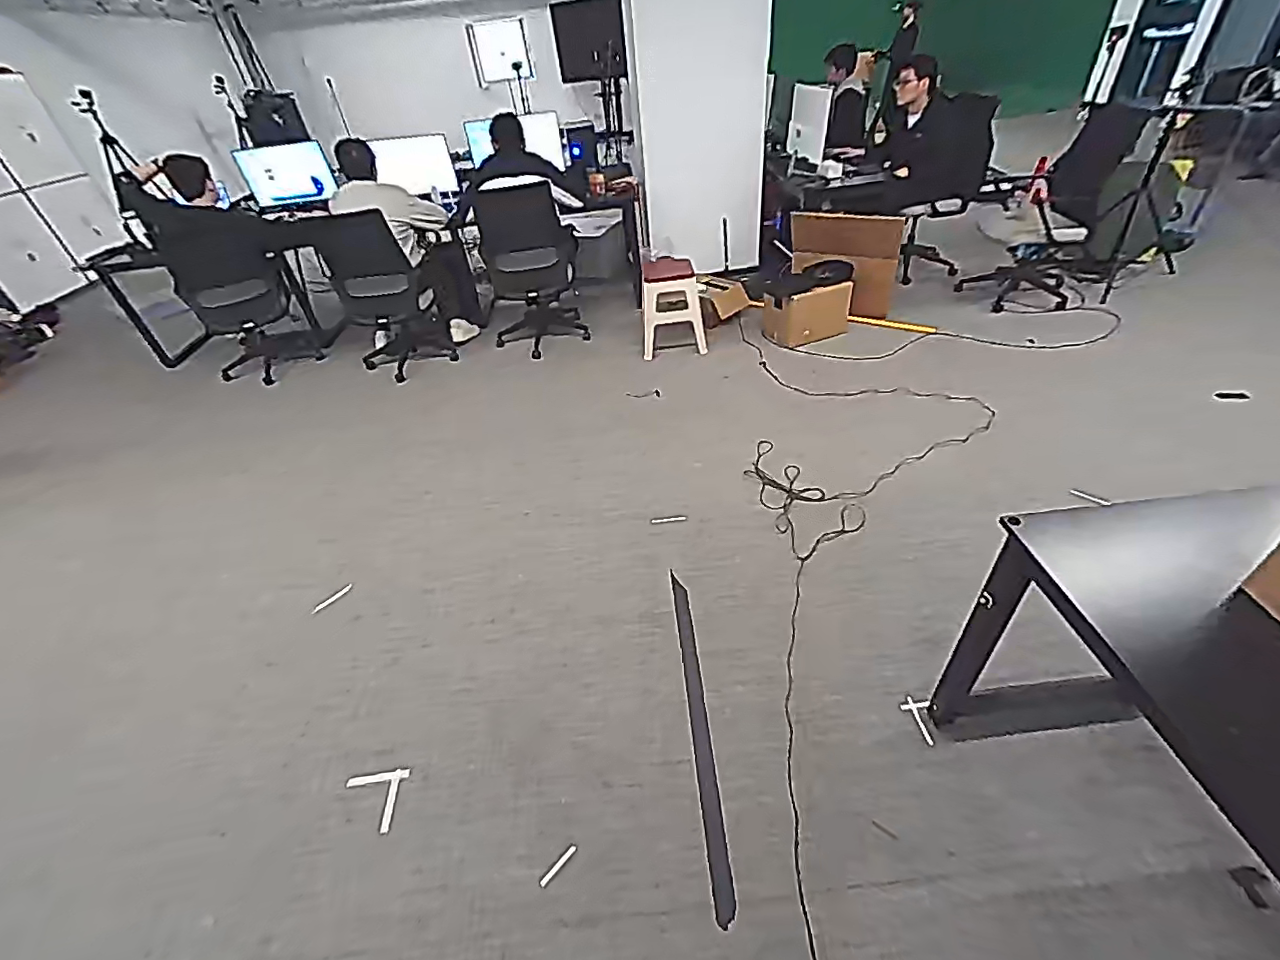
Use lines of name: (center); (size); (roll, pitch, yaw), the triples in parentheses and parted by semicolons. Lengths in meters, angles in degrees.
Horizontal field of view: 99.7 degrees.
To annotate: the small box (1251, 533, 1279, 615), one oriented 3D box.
small box: (1.058, 0.148, 0.775); (0.179, 0.176, 0.168); (-5, 39, 3)
